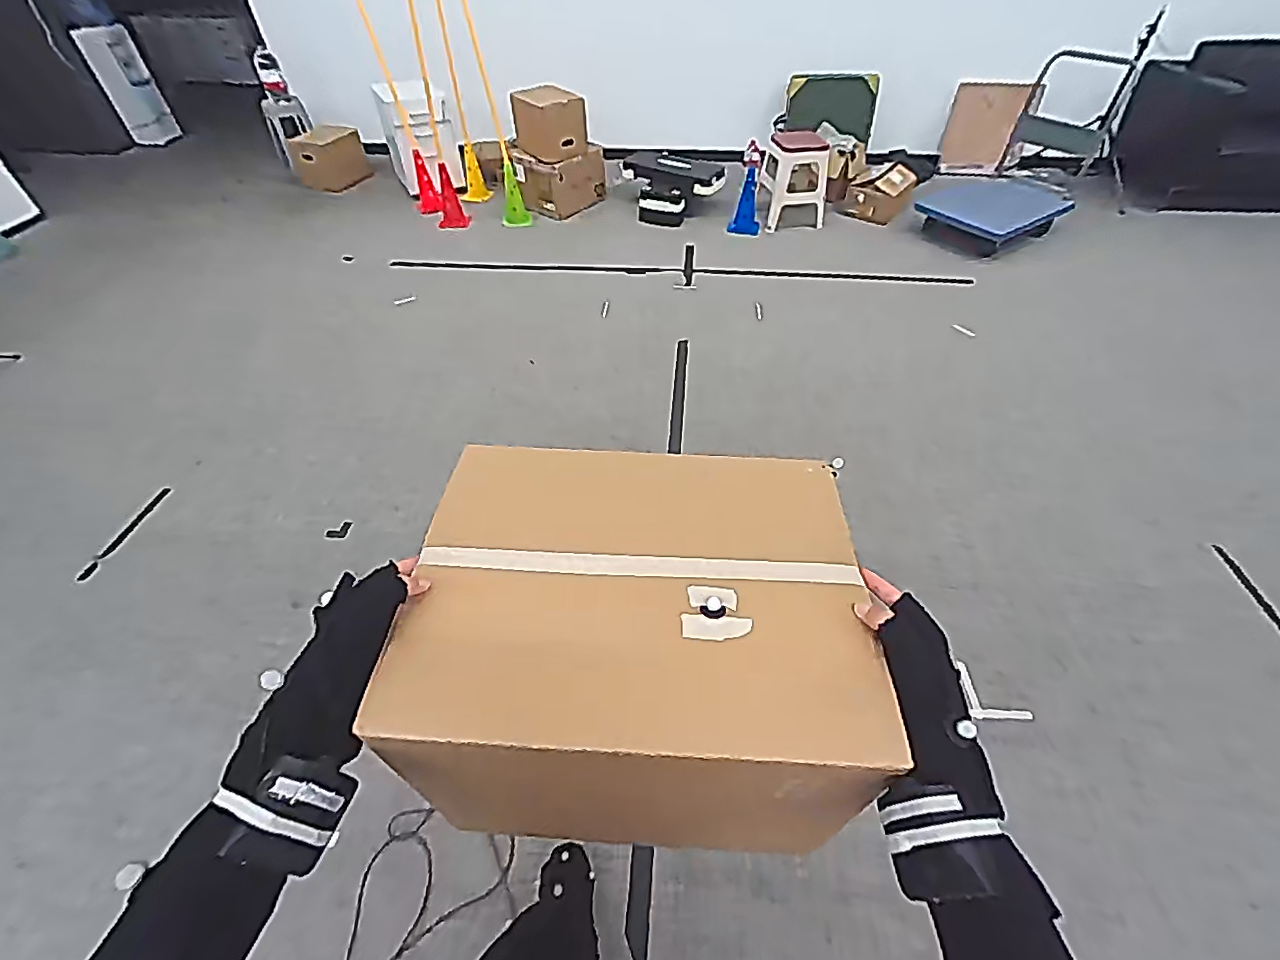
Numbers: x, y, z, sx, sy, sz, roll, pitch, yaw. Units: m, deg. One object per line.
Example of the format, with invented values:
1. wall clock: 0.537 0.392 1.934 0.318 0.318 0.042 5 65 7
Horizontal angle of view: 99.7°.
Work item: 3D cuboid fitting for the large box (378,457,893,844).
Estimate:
1. large box: -0.002 0.194 0.618 0.408 0.320 0.320 3 46 2
